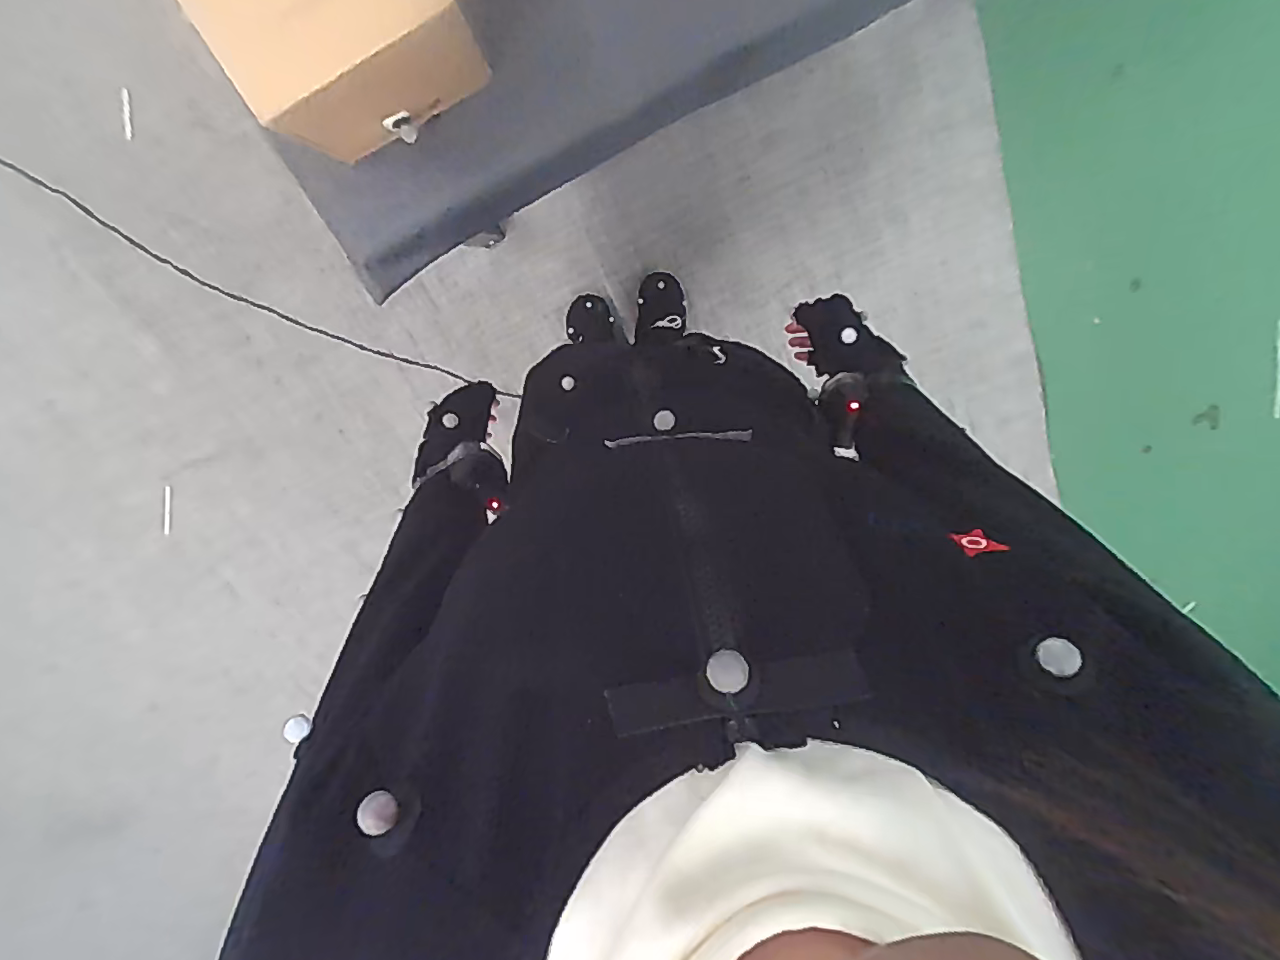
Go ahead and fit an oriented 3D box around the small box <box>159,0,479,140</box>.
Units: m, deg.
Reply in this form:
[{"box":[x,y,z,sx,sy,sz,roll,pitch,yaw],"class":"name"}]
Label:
[{"box":[-0.244,-0.388,0.393,0.168,0.176,0.179,-24,112,6],"class":"small box"}]
